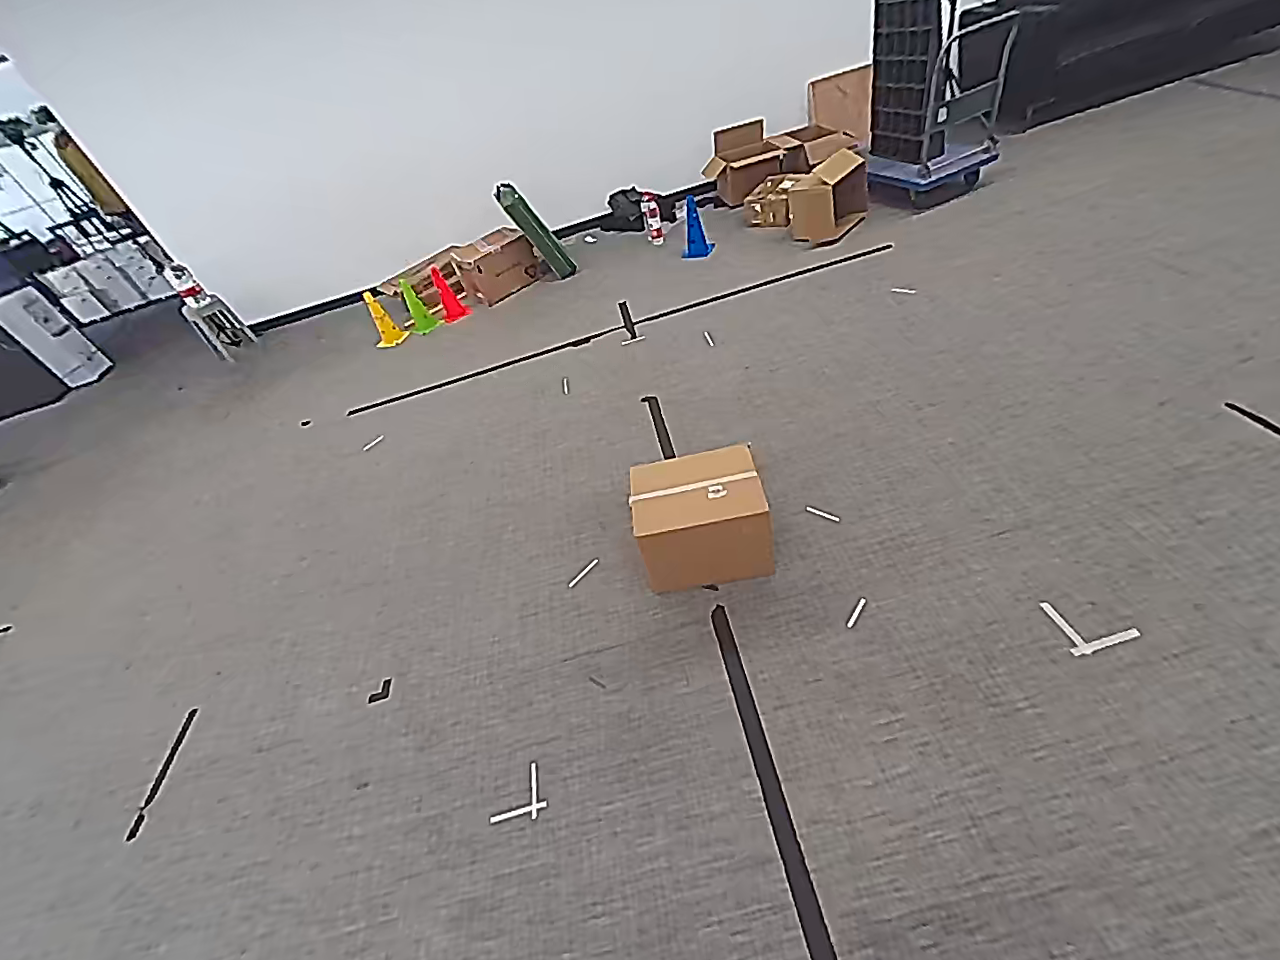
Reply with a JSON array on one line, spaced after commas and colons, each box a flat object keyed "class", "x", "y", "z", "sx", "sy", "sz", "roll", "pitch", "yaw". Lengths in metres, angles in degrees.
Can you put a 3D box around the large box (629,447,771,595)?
[{"class": "large box", "x": 0.195, "y": 0.139, "z": 1.780, "sx": 0.408, "sy": 0.320, "sz": 0.320, "roll": -11, "pitch": 43, "yaw": 6}]
